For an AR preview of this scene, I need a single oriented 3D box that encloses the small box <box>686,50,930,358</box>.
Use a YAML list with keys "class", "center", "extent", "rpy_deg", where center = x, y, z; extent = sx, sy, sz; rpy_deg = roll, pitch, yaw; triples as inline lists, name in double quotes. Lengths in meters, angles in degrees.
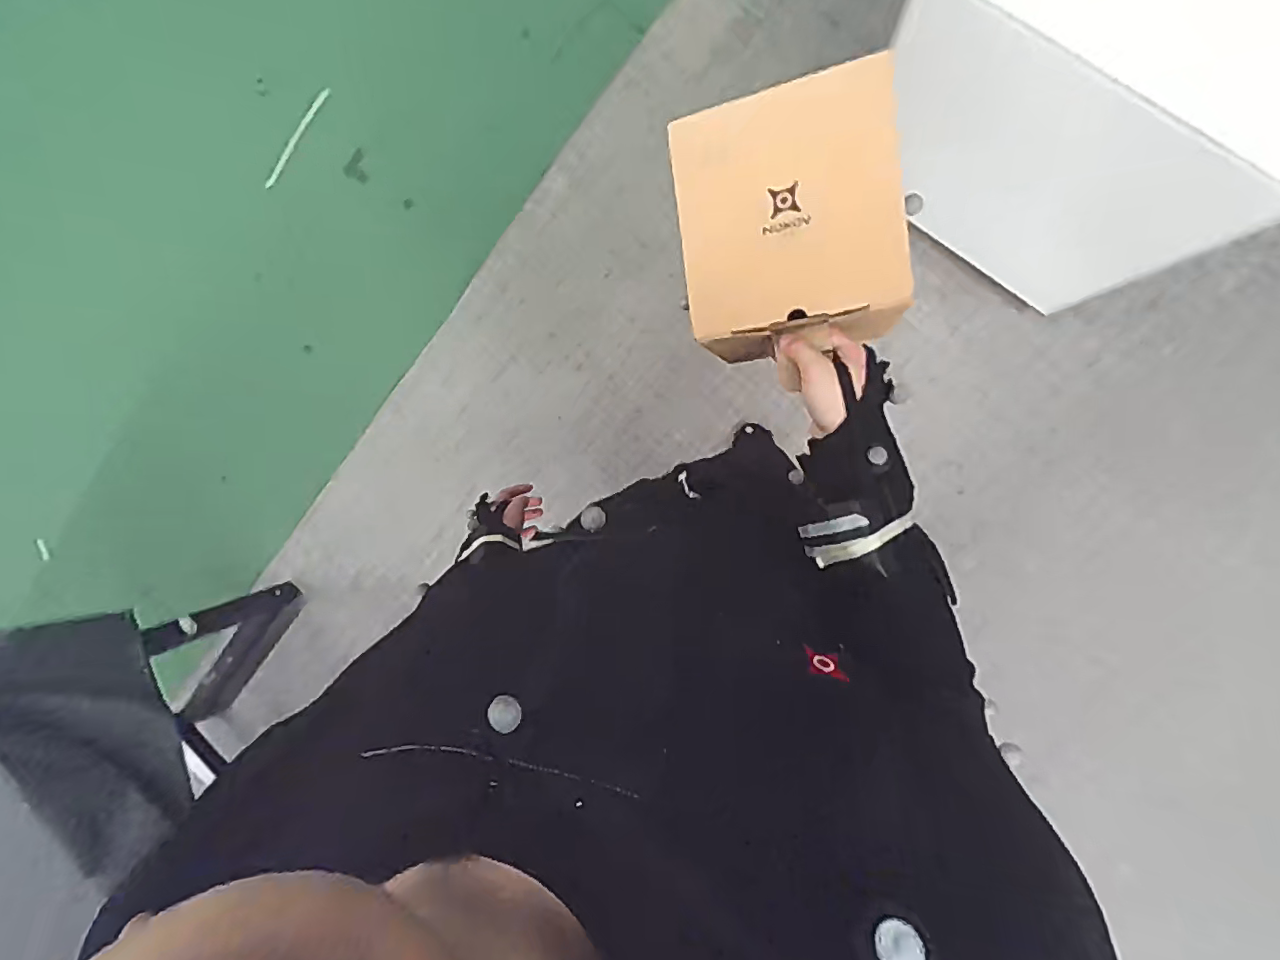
- class: "small box"
  center: [0.146, -0.216, 0.482]
  extent: [0.168, 0.176, 0.179]
  rpy_deg: [-6, 94, 19]
